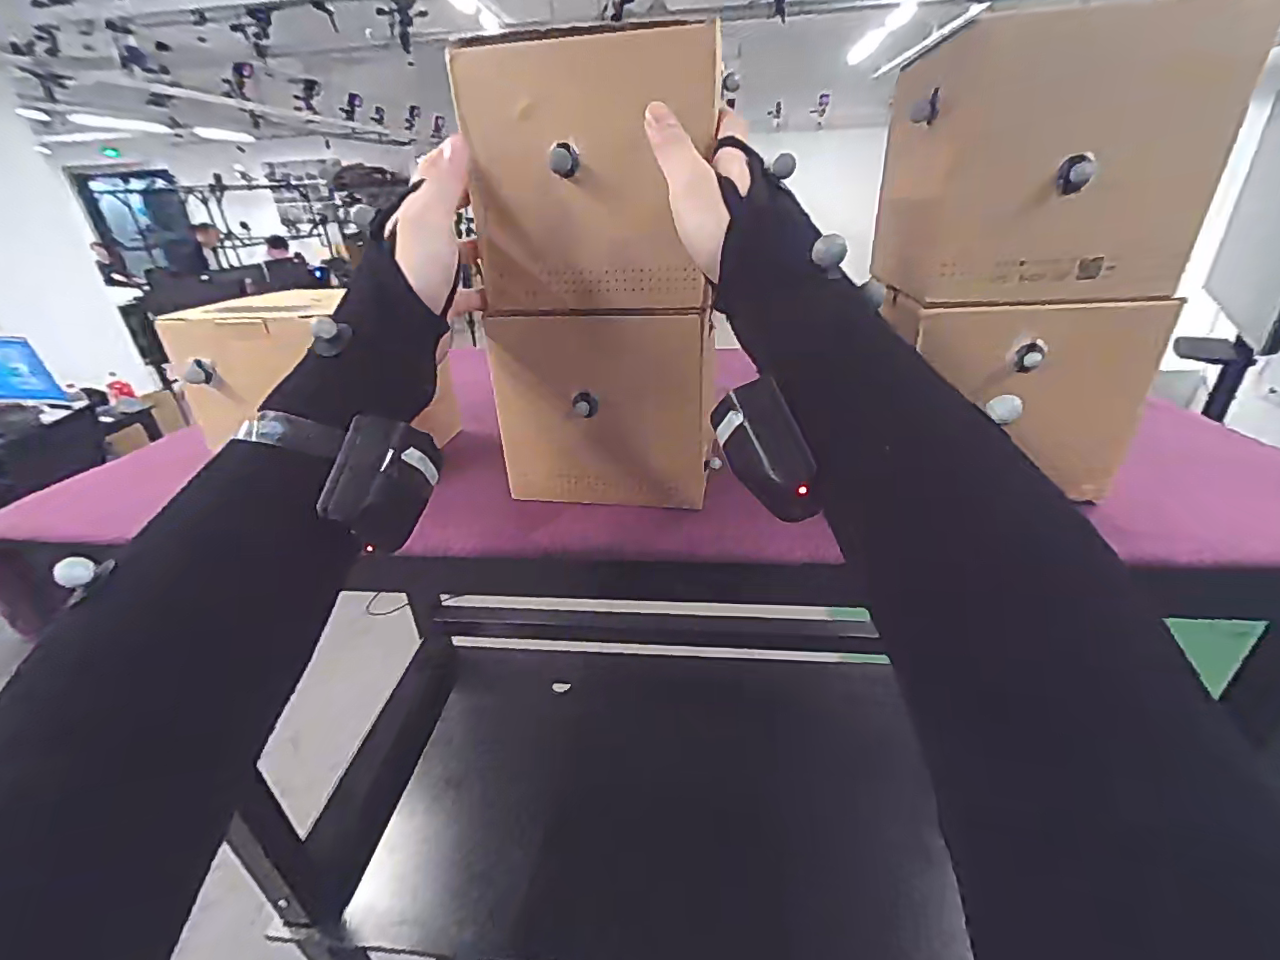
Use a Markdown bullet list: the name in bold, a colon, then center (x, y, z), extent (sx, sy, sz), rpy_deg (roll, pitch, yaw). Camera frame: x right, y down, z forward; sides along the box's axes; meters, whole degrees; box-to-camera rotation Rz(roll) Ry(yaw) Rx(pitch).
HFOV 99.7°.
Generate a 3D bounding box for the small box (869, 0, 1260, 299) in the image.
- **small box**: center (0.291, -0.241, 0.427), extent (0.168, 0.176, 0.179), rpy_deg (1, 28, 9)

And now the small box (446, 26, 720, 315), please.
- **small box**: center (-0.026, -0.236, 0.447), extent (0.179, 0.176, 0.168), rpy_deg (0, 28, 10)

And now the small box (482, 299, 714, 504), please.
- **small box**: center (-0.022, -0.087, 0.520), extent (0.179, 0.176, 0.168), rpy_deg (1, 27, 11)
